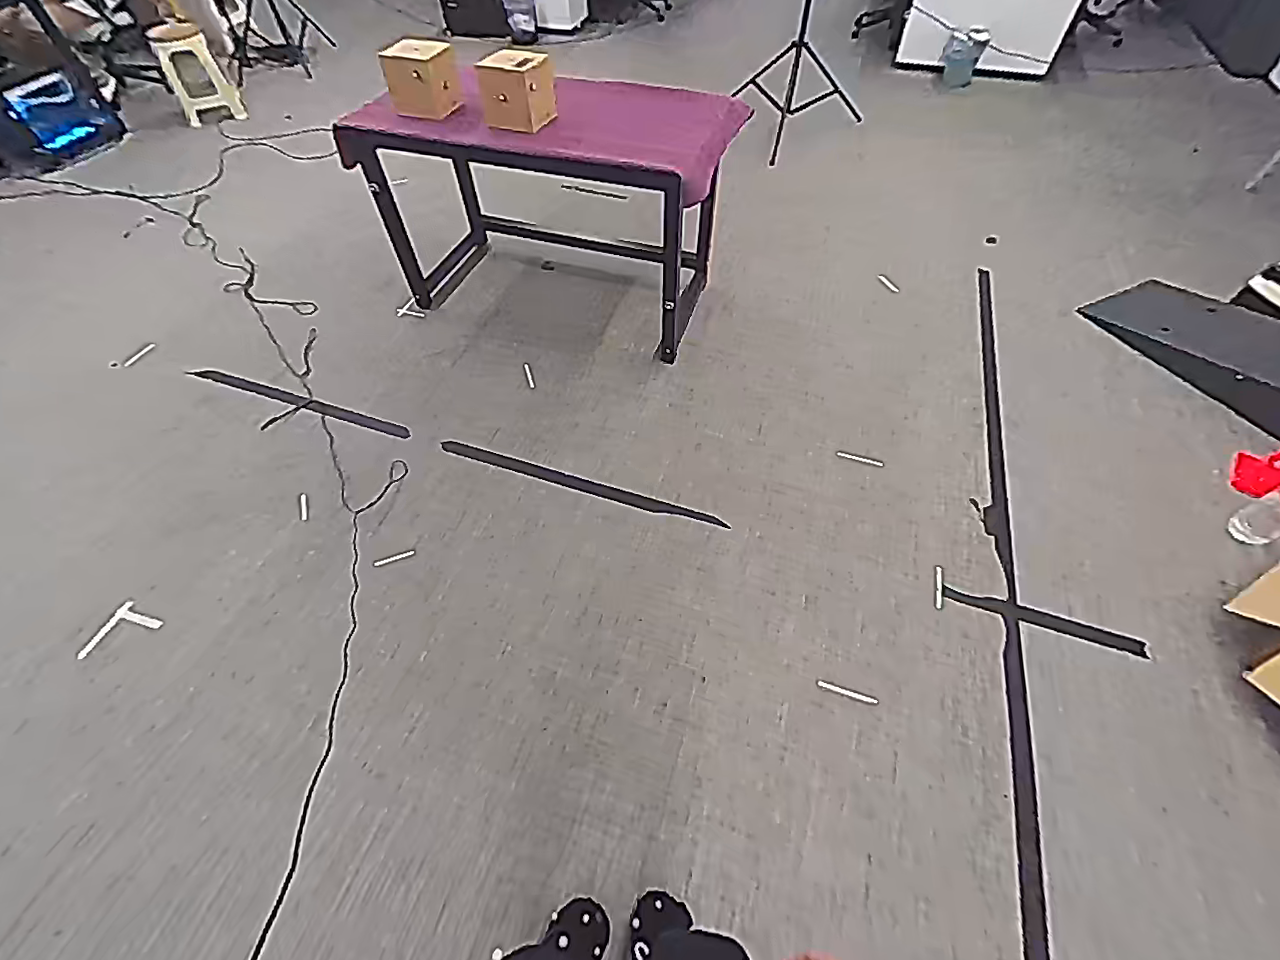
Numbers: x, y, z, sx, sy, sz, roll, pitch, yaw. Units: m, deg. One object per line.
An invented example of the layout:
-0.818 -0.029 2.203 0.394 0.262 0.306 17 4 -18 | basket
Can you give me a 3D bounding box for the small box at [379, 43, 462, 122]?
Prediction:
-0.718 -1.317 1.795 0.179 0.176 0.168 13 53 10 | small box
